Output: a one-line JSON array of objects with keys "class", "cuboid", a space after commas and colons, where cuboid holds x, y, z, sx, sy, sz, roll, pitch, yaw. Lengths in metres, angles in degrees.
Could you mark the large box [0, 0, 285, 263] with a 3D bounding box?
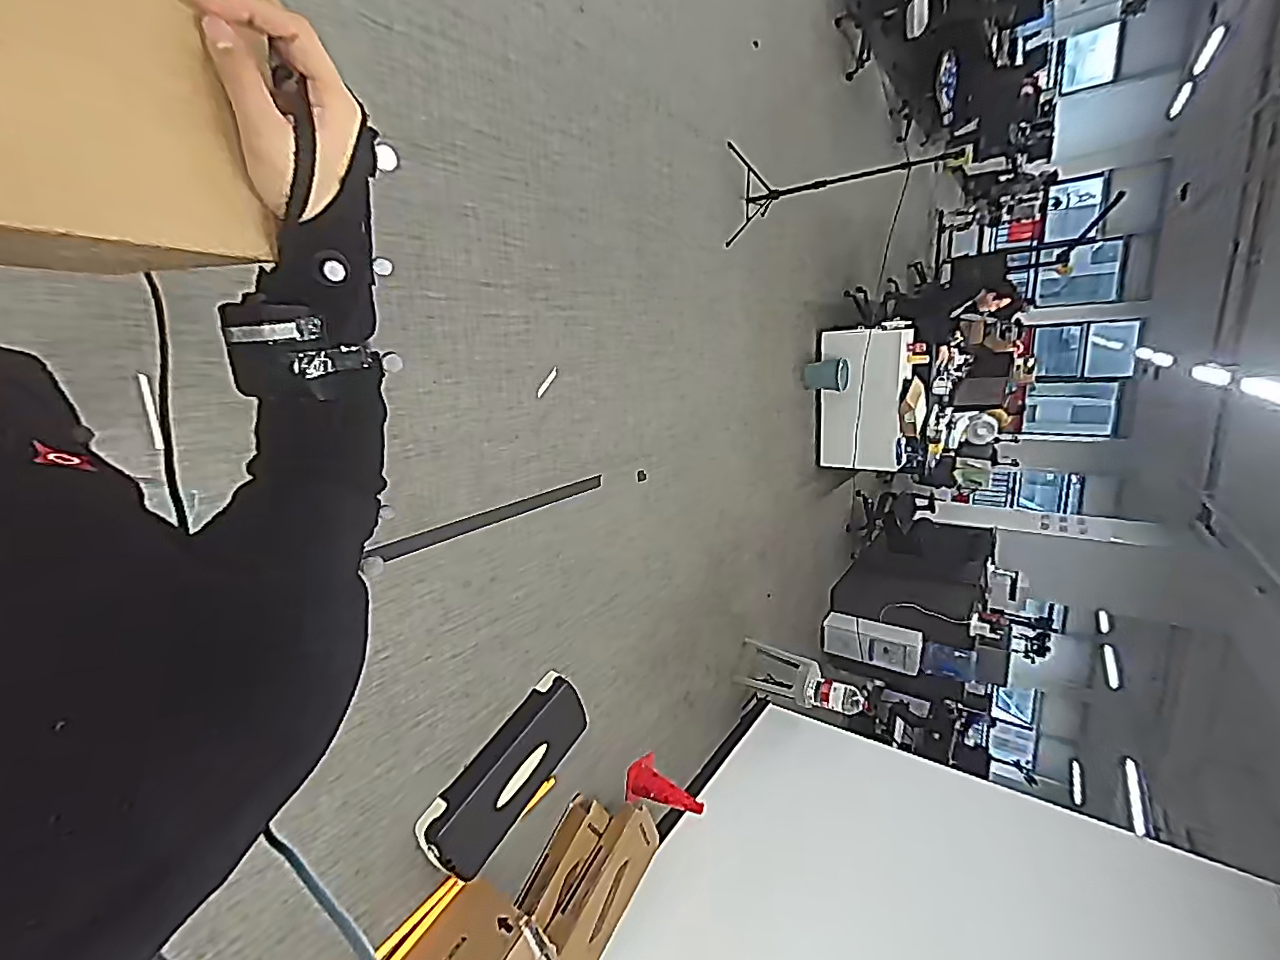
[{"class": "large box", "cuboid": [-0.448, -0.275, 0.212, 0.408, 0.320, 0.320, -20, 118, -56]}]
